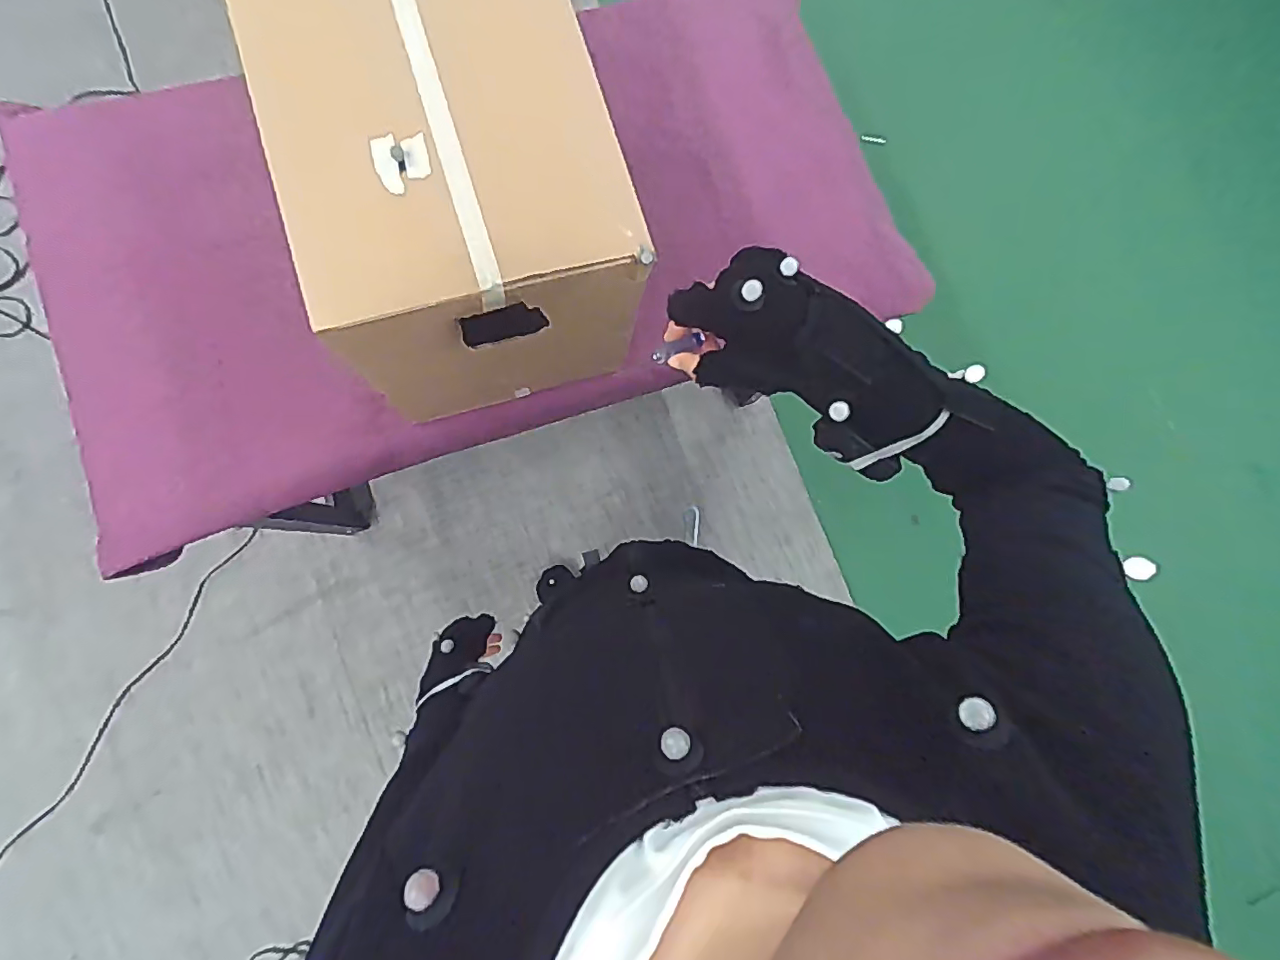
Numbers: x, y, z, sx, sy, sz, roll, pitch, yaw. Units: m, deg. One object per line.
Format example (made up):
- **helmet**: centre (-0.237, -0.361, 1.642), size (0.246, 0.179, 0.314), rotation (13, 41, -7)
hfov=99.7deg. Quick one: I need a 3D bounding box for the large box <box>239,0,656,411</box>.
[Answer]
- **large box**: centre (-0.209, -0.344, 0.665), size (0.320, 0.320, 0.408), rotation (-17, 85, -9)
